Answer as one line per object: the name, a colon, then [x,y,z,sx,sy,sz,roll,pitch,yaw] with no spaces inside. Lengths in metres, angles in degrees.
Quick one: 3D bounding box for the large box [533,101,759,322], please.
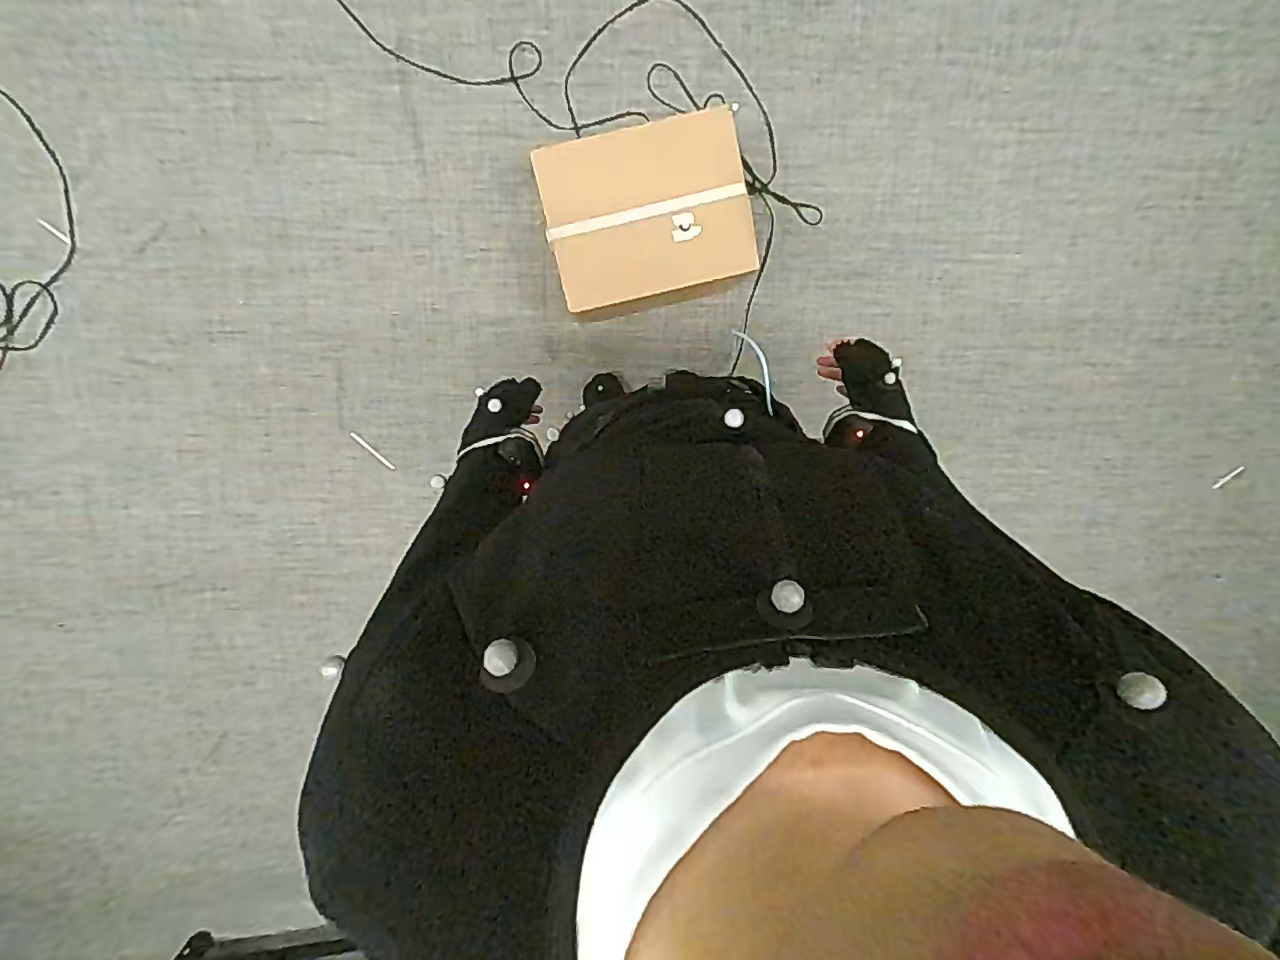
large box: [0.009,-0.570,1.222,0.408,0.320,0.320,-14,102,0]
